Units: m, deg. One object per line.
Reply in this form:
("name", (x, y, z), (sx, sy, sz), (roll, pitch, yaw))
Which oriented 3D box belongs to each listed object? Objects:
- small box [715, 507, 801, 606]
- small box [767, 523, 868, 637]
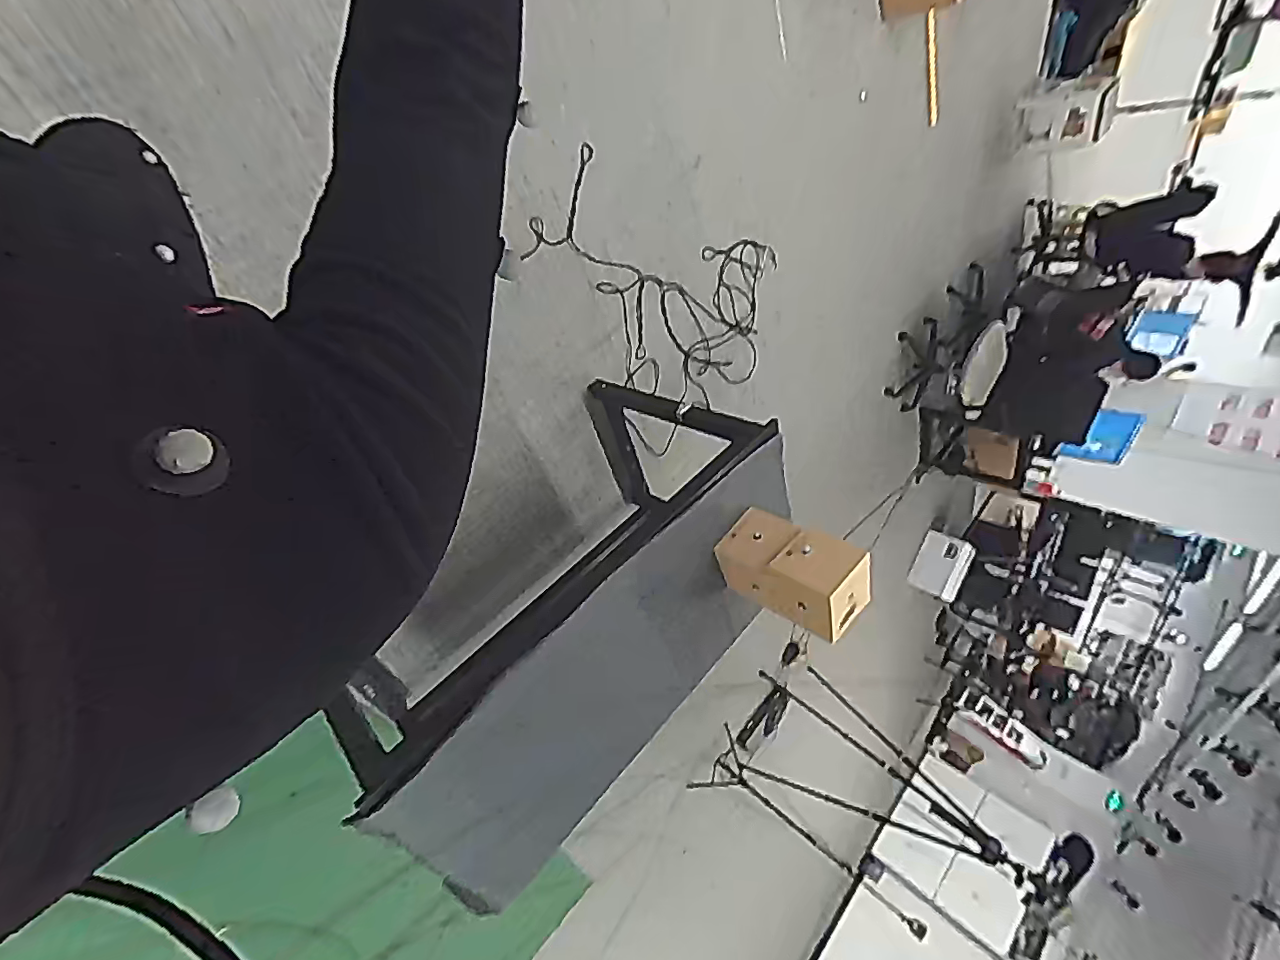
("small box", (0.321, 0.192, 1.420), (0.168, 0.176, 0.179), (-44, 134, -20))
("small box", (0.426, 0.233, 1.300), (0.168, 0.176, 0.179), (-38, 131, -26))
